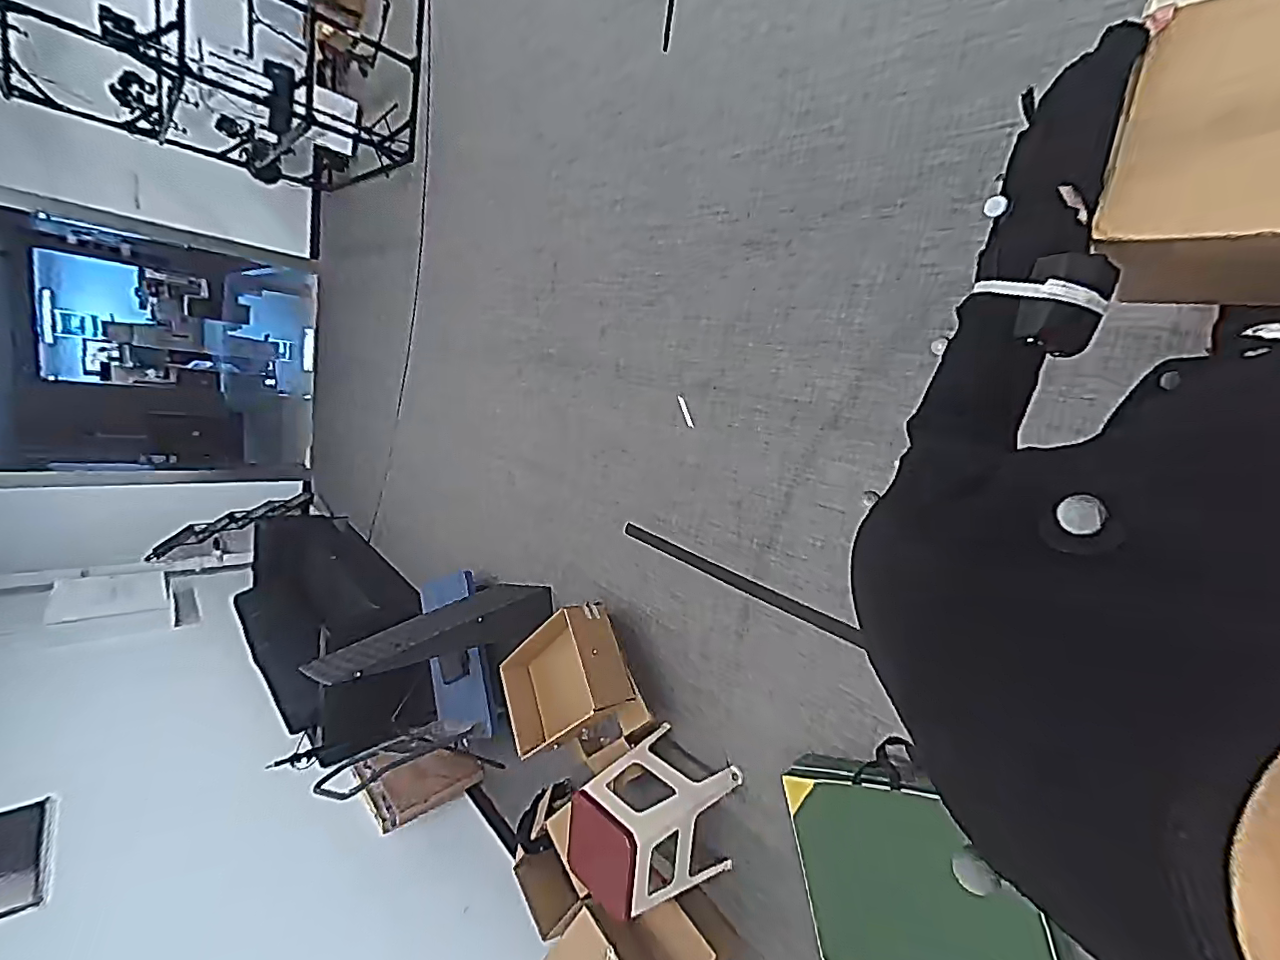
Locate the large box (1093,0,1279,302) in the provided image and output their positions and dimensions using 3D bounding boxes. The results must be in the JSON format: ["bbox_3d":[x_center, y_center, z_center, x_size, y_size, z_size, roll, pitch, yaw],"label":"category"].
[{"bbox_3d":[0.605,-0.305,0.363,0.408,0.320,0.320,18,107,41],"label":"large box"}]
